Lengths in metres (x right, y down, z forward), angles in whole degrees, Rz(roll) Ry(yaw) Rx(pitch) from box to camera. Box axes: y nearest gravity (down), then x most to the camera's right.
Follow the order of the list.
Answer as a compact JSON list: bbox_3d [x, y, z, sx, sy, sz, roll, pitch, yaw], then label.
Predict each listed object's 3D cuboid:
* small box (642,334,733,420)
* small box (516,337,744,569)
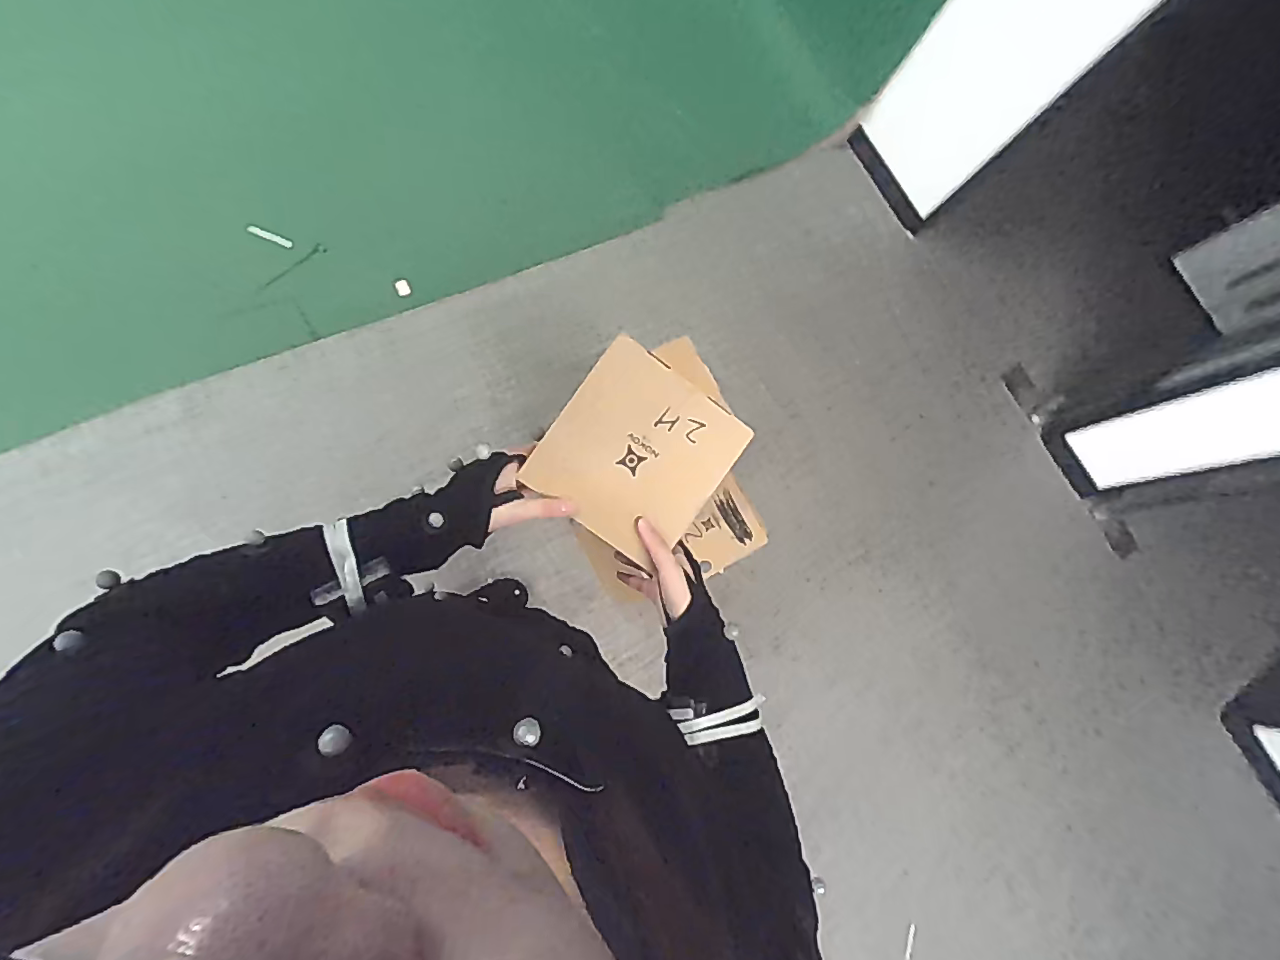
[{"bbox_3d":[0.027,-0.122,0.952,0.179,0.176,0.168,-28,87,-17],"label":"small box"},{"bbox_3d":[-0.014,-0.030,0.614,0.168,0.176,0.179,36,90,-7],"label":"small box"}]
